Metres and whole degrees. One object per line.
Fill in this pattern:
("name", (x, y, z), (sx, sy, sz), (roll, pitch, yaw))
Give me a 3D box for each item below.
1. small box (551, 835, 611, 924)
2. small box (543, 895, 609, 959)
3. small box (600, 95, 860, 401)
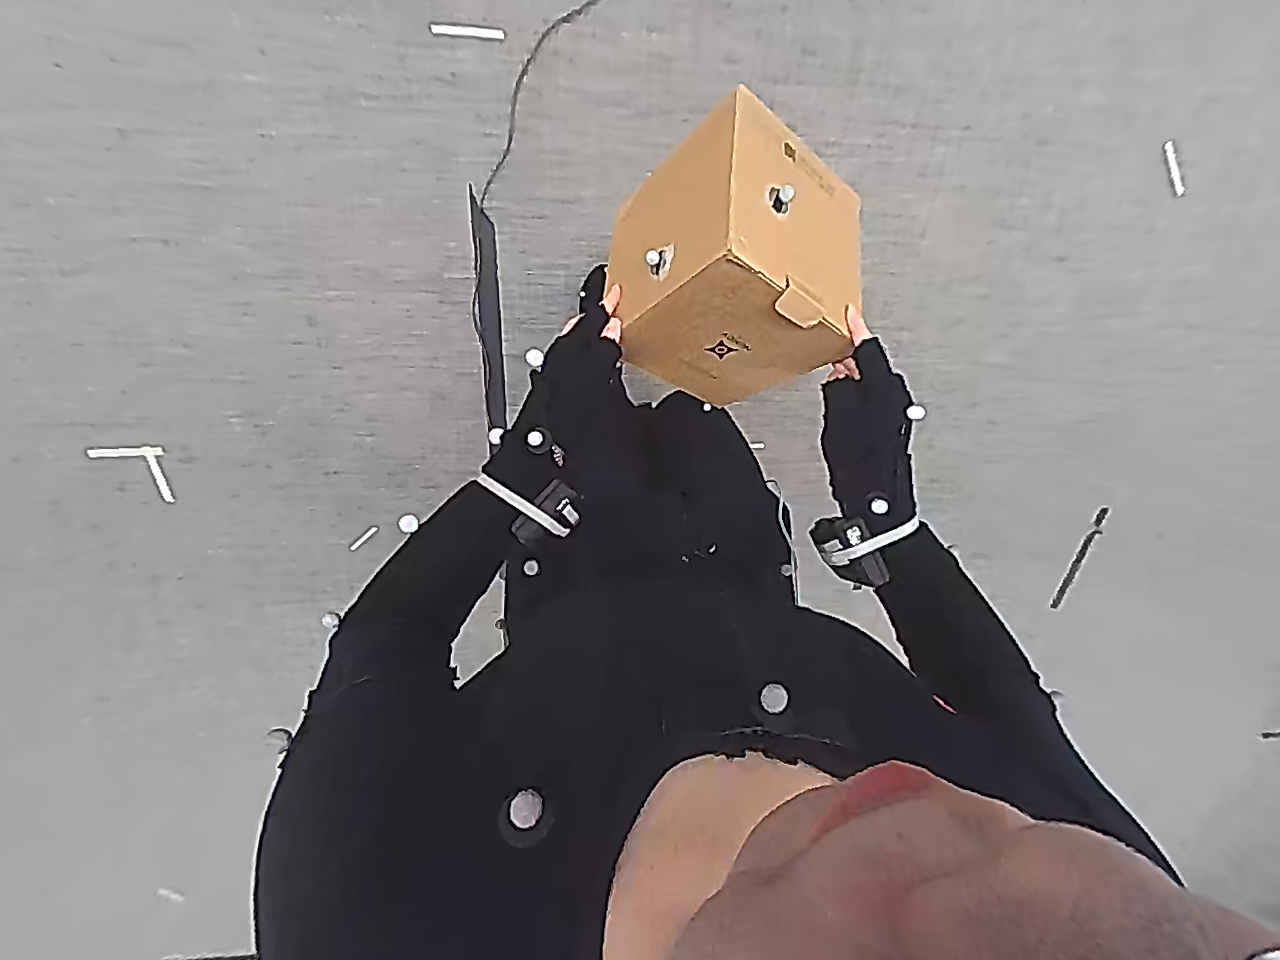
("small box", (-0.172, 1.180, 1.599), (0.168, 0.176, 0.179), (-3, 116, -4))
("small box", (-0.168, 1.257, 1.455), (0.168, 0.176, 0.179), (-1, 117, -5))
("small box", (0.082, -0.203, 0.512), (0.168, 0.176, 0.179), (20, 156, -34))
